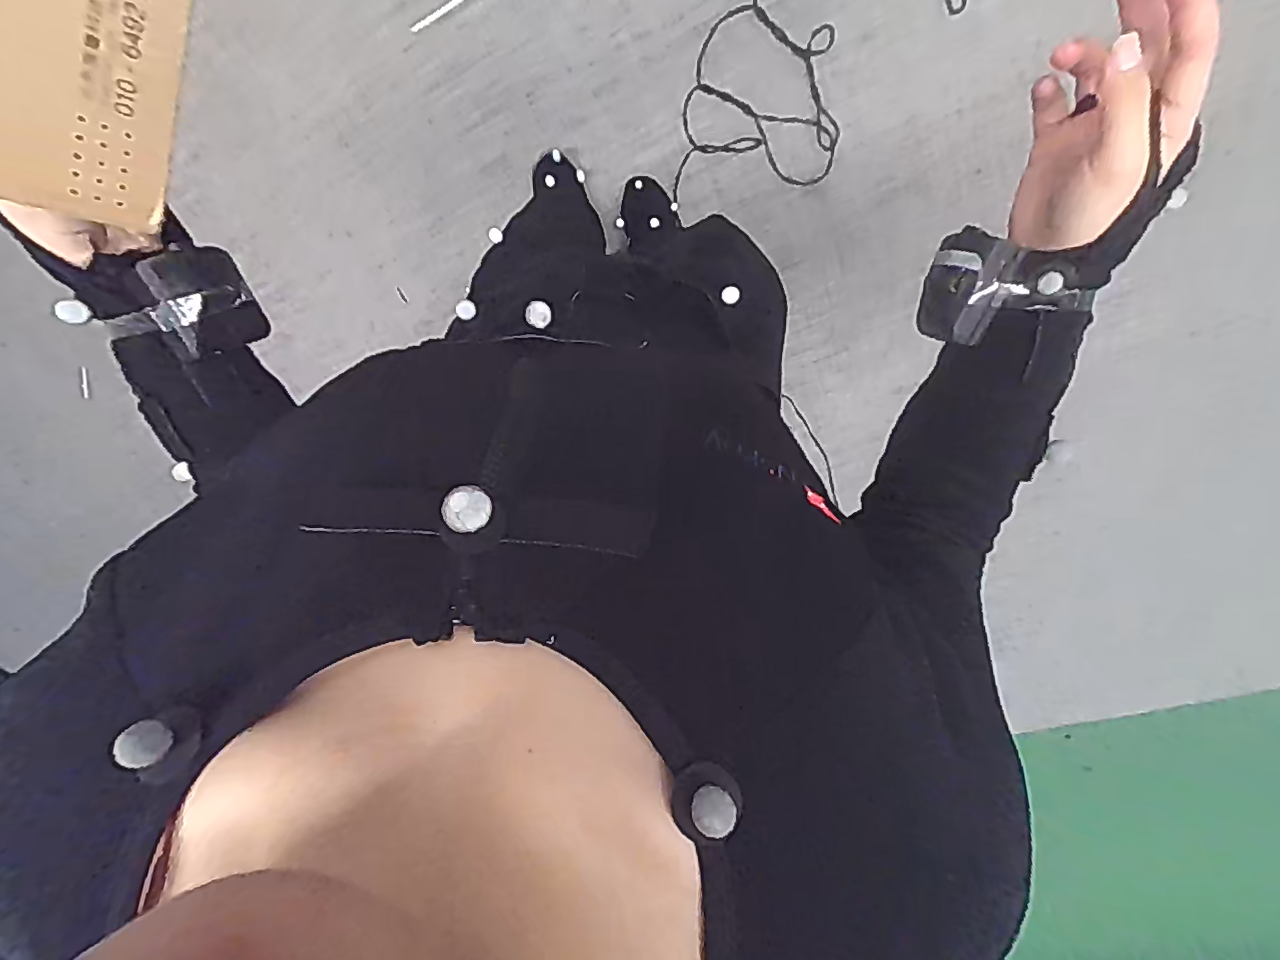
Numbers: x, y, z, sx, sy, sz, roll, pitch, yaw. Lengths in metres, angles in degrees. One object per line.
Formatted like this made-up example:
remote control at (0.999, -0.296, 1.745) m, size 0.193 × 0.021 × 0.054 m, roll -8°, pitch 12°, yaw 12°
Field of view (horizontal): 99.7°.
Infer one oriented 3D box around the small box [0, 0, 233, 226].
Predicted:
small box at (-0.259, -0.203, 0.164) m, size 0.179 × 0.176 × 0.168 m, roll 33°, pitch 111°, yaw 20°
